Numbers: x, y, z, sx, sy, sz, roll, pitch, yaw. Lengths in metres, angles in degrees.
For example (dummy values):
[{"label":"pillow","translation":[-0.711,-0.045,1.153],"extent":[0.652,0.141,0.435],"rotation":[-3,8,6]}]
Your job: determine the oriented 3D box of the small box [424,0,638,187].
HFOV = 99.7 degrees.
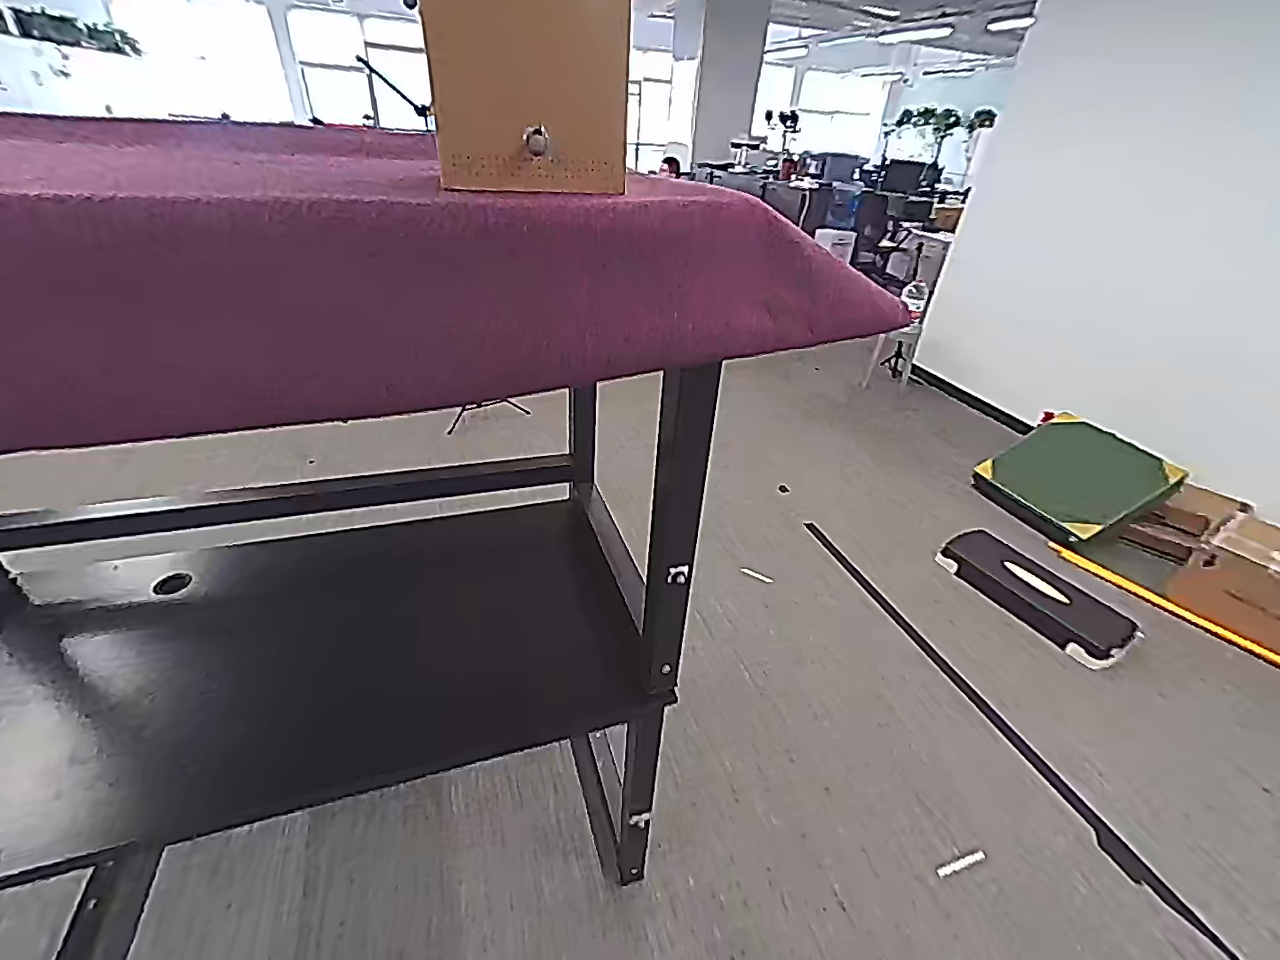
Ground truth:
[{"label":"small box","translation":[-0.110,-0.390,0.531],"extent":[0.179,0.176,0.168],"rotation":[-6,34,-15]}]
